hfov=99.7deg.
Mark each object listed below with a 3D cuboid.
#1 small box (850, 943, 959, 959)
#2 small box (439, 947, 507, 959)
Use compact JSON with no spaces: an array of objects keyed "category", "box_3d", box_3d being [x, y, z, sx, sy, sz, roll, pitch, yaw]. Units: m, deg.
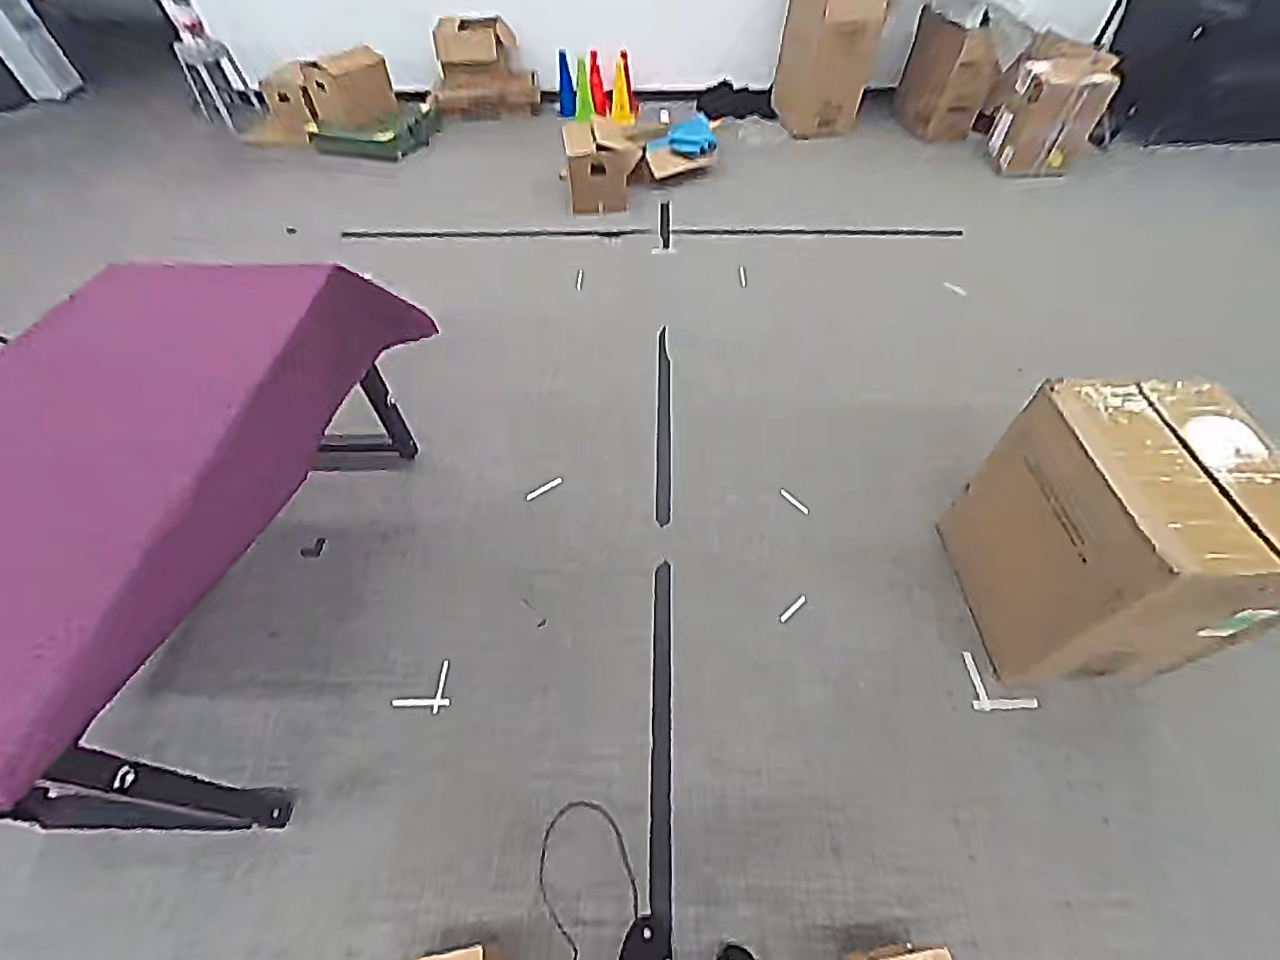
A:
[{"category":"small box","box_3d":[0.521,1.001,1.013,0.168,0.176,0.179,-7,53,-4]},{"category":"small box","box_3d":[-0.348,1.016,1.023,0.168,0.176,0.179,-9,50,-6]}]
